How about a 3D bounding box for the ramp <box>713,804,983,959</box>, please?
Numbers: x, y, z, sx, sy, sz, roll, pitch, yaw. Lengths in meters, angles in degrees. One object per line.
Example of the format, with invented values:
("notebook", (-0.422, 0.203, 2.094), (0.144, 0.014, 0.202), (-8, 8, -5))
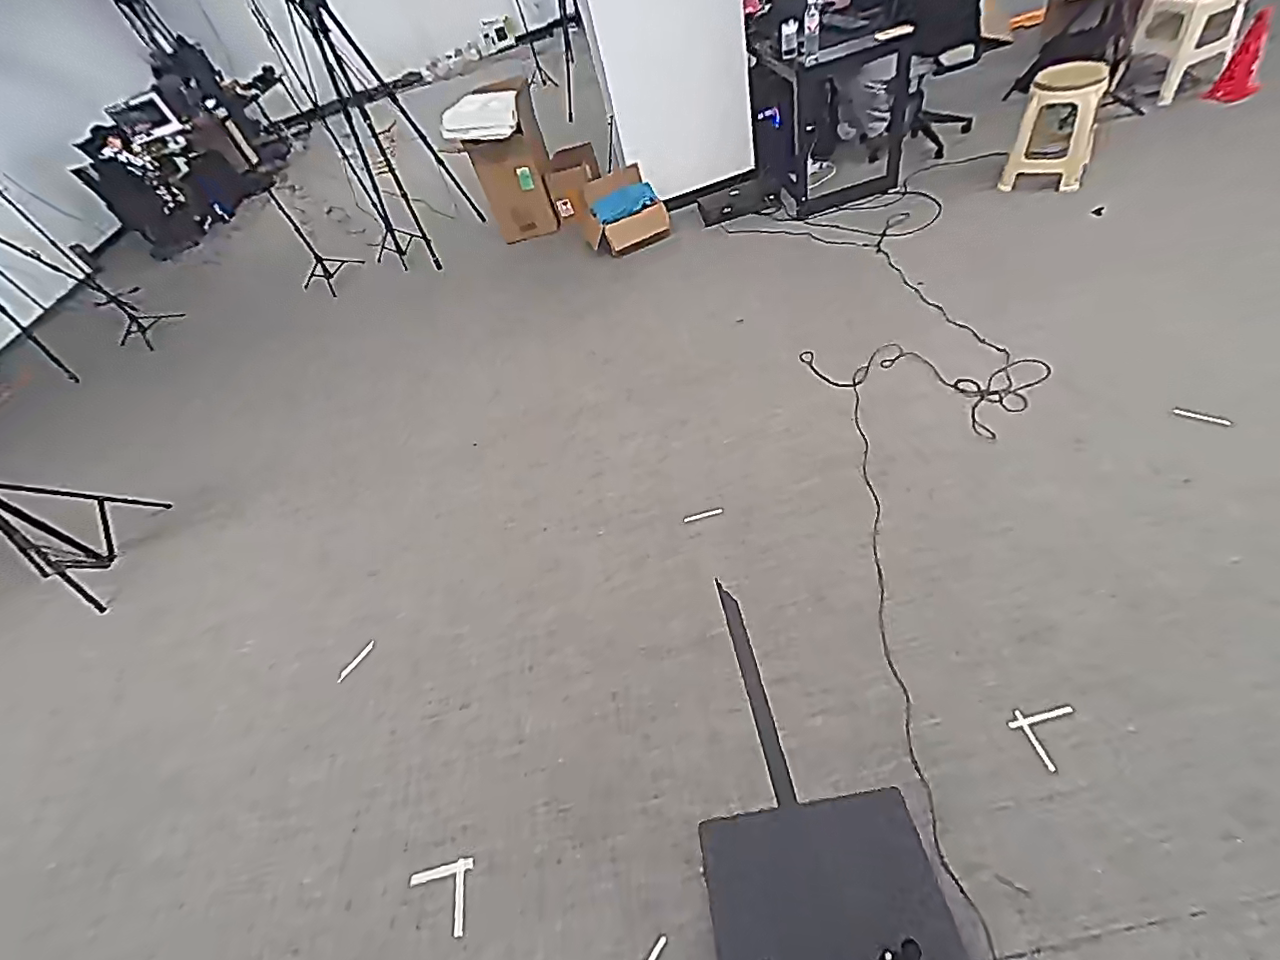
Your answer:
("ramp", (0.447, 1.117, 0.895), (0.509, 0.206, 0.991), (-18, 45, 5))
